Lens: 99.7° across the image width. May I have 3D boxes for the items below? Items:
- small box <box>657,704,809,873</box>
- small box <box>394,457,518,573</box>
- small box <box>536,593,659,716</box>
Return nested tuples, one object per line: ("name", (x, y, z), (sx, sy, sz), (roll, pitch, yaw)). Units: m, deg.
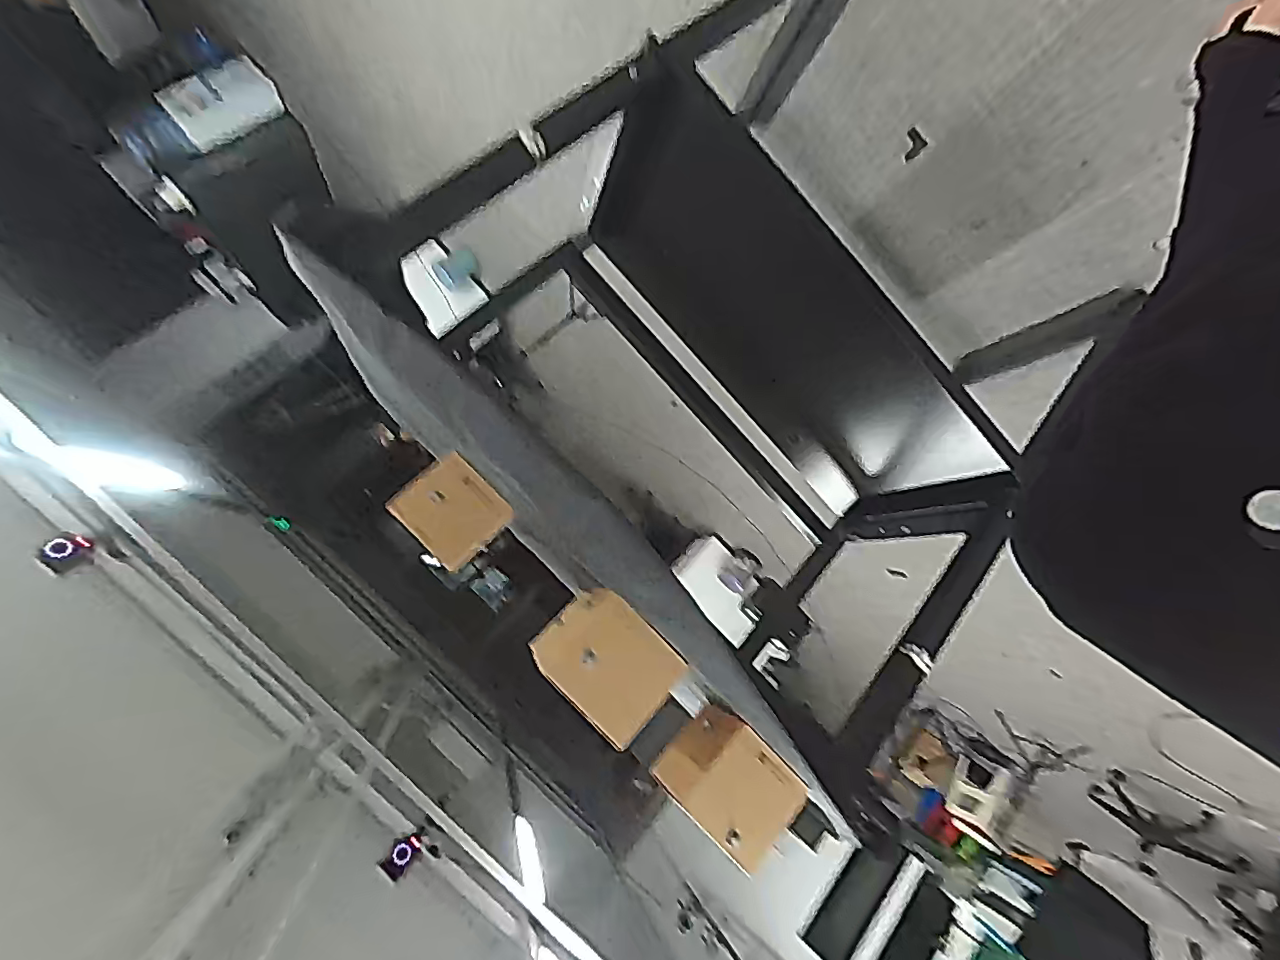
("small box", (0.162, 0.527, 0.957), (0.168, 0.176, 0.179), (46, 162, -3))
("small box", (-0.370, 0.073, 1.113), (0.168, 0.176, 0.179), (46, 161, -4))
("small box", (-0.093, 0.360, 1.153), (0.179, 0.176, 0.168), (46, 162, -7))
